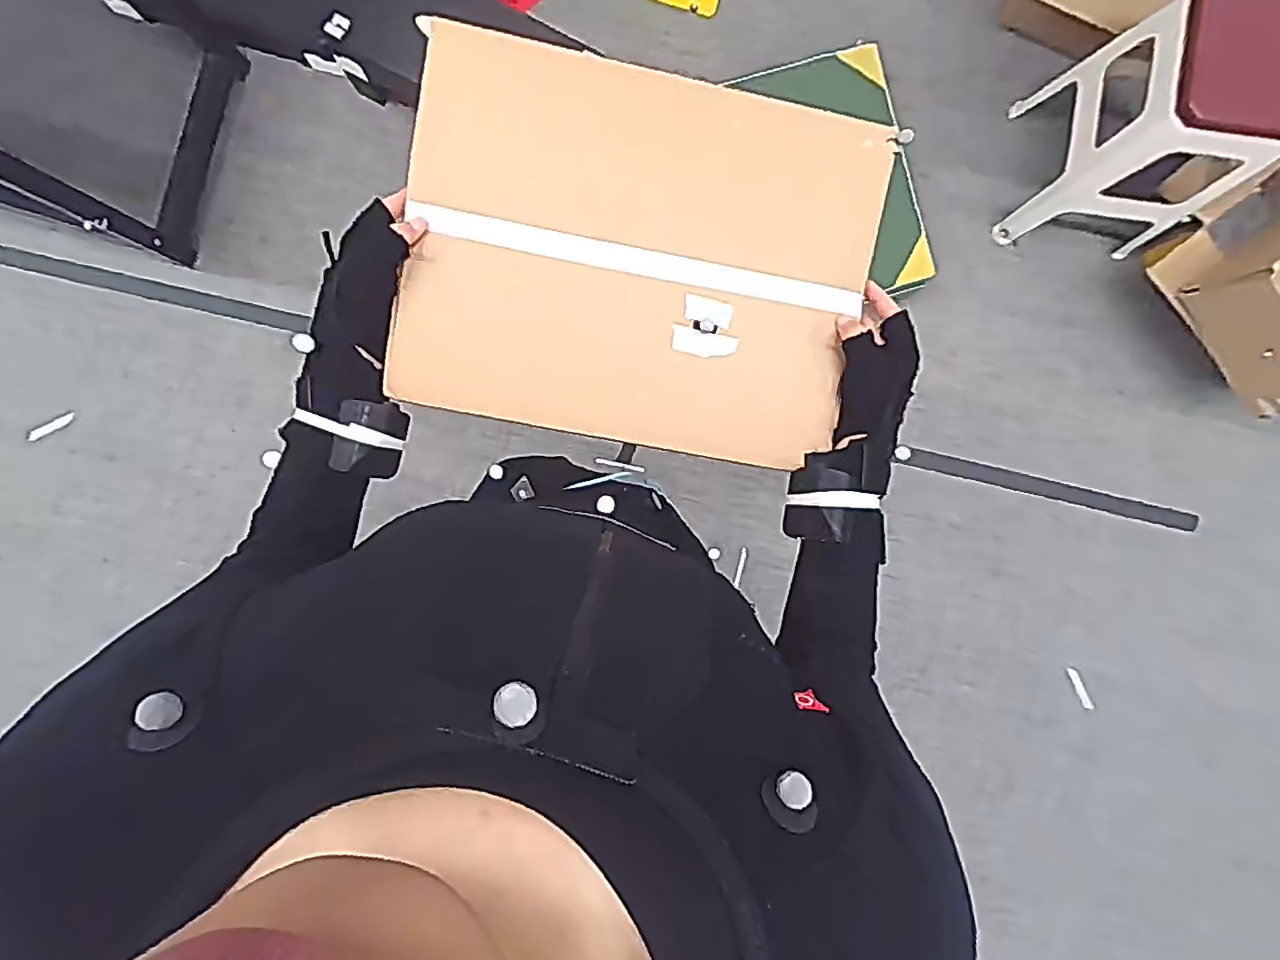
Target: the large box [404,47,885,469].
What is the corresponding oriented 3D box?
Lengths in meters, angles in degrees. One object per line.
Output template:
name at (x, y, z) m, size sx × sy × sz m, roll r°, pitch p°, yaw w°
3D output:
large box at (-0.008, -0.205, 0.635) m, size 0.408 × 0.320 × 0.320 m, roll 10°, pitch 96°, yaw -5°
